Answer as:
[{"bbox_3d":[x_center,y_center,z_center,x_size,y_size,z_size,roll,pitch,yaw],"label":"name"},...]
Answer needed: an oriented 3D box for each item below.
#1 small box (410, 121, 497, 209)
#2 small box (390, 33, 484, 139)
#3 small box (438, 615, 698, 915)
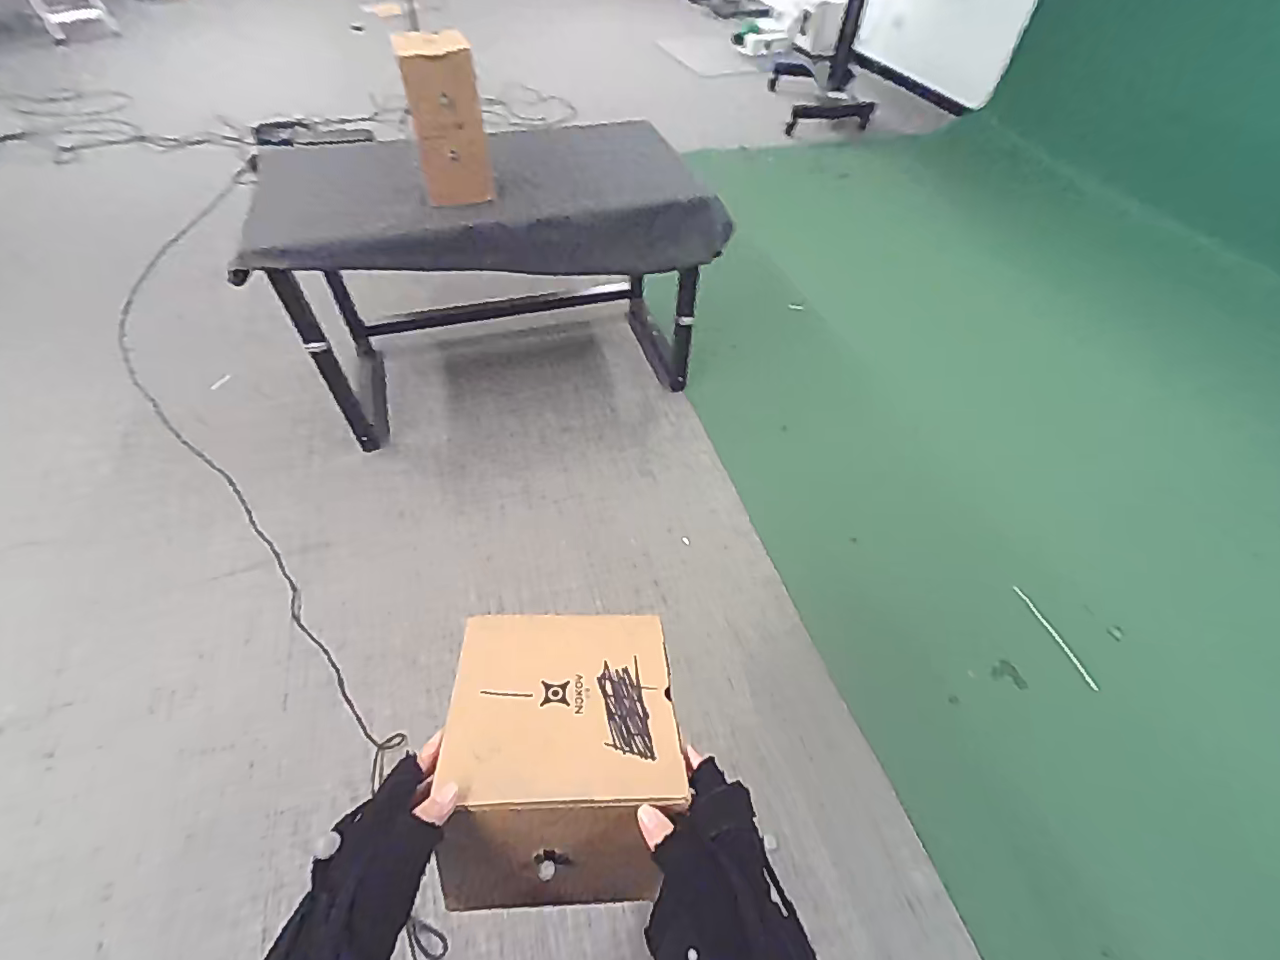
[{"bbox_3d":[-0.488,-0.835,1.425,0.179,0.176,0.168,-13,53,-14],"label":"small box"},{"bbox_3d":[-0.484,-0.942,1.302,0.168,0.176,0.179,-15,54,-14],"label":"small box"},{"bbox_3d":[-0.067,0.237,0.465,0.179,0.176,0.168,2,33,-12],"label":"small box"}]
